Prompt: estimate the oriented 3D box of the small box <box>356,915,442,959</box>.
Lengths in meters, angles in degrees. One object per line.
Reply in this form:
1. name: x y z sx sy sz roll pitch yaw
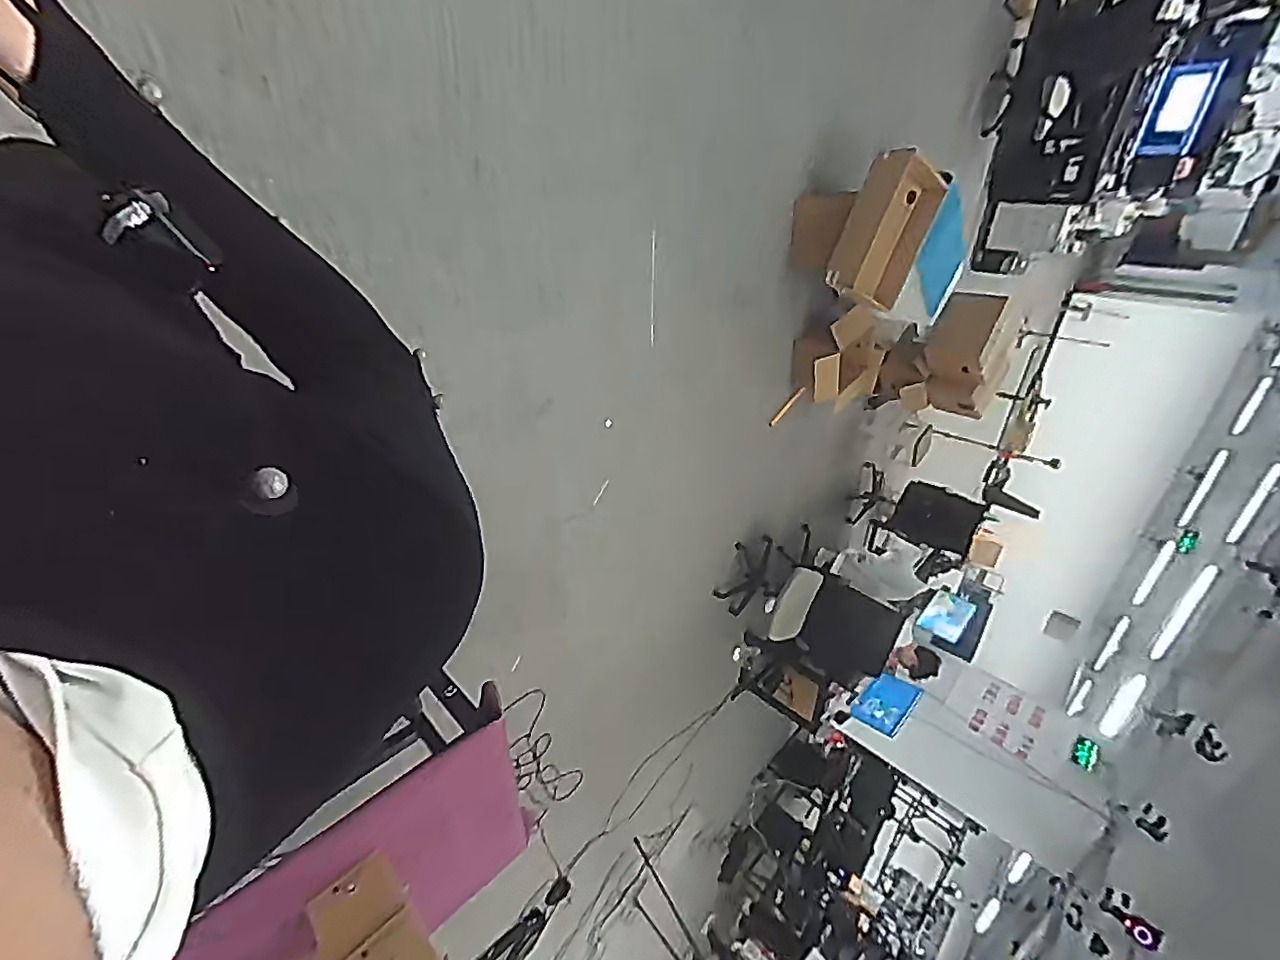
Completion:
1. small box: -0.479 1.036 1.087 0.168 0.176 0.179 -28 129 -37
